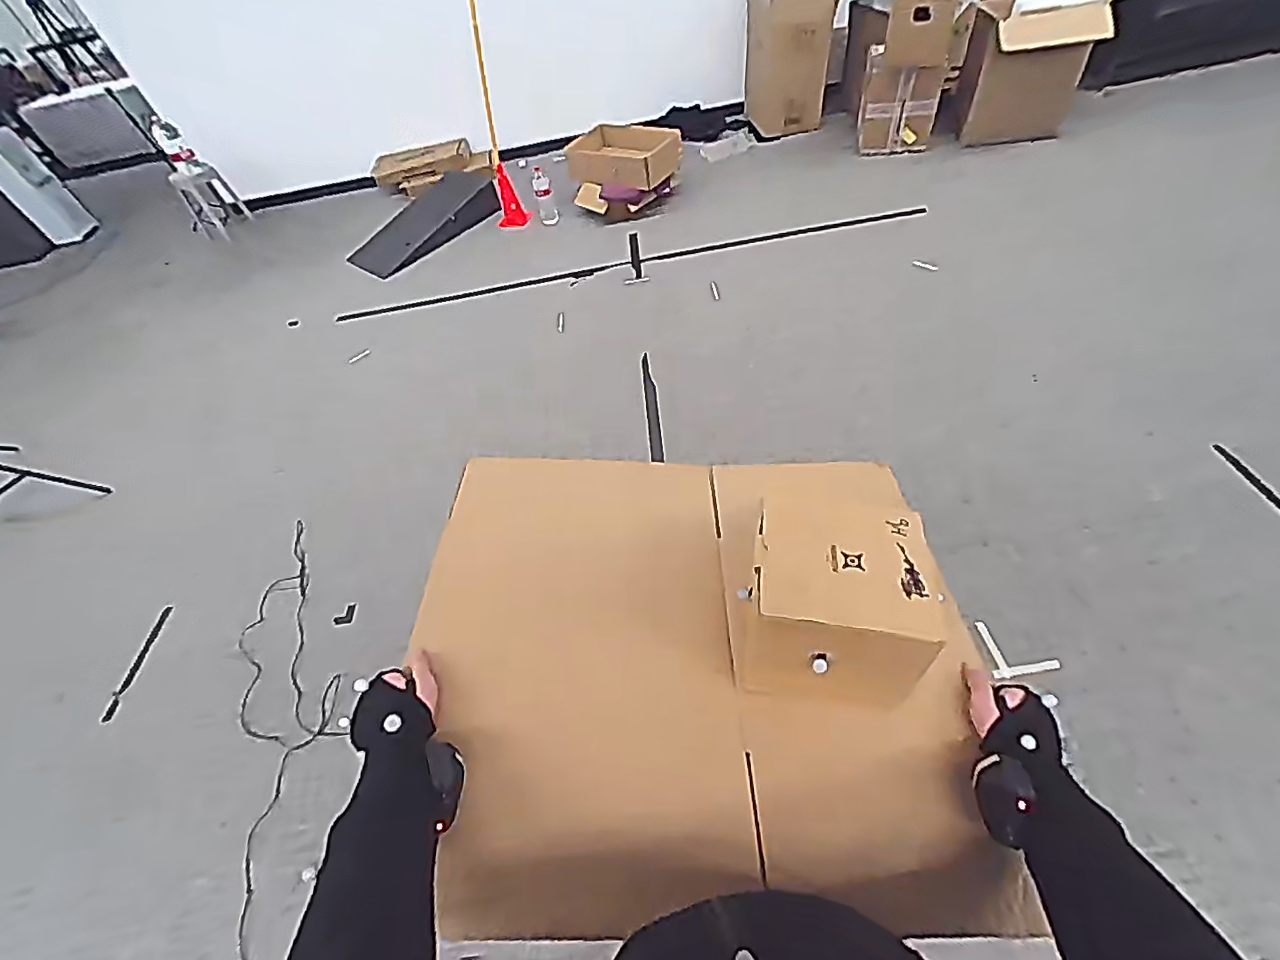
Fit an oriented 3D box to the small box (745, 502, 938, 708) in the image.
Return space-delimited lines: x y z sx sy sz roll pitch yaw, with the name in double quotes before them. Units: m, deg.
"small box" 0.218 0.147 0.635 0.179 0.176 0.168 5 46 10
